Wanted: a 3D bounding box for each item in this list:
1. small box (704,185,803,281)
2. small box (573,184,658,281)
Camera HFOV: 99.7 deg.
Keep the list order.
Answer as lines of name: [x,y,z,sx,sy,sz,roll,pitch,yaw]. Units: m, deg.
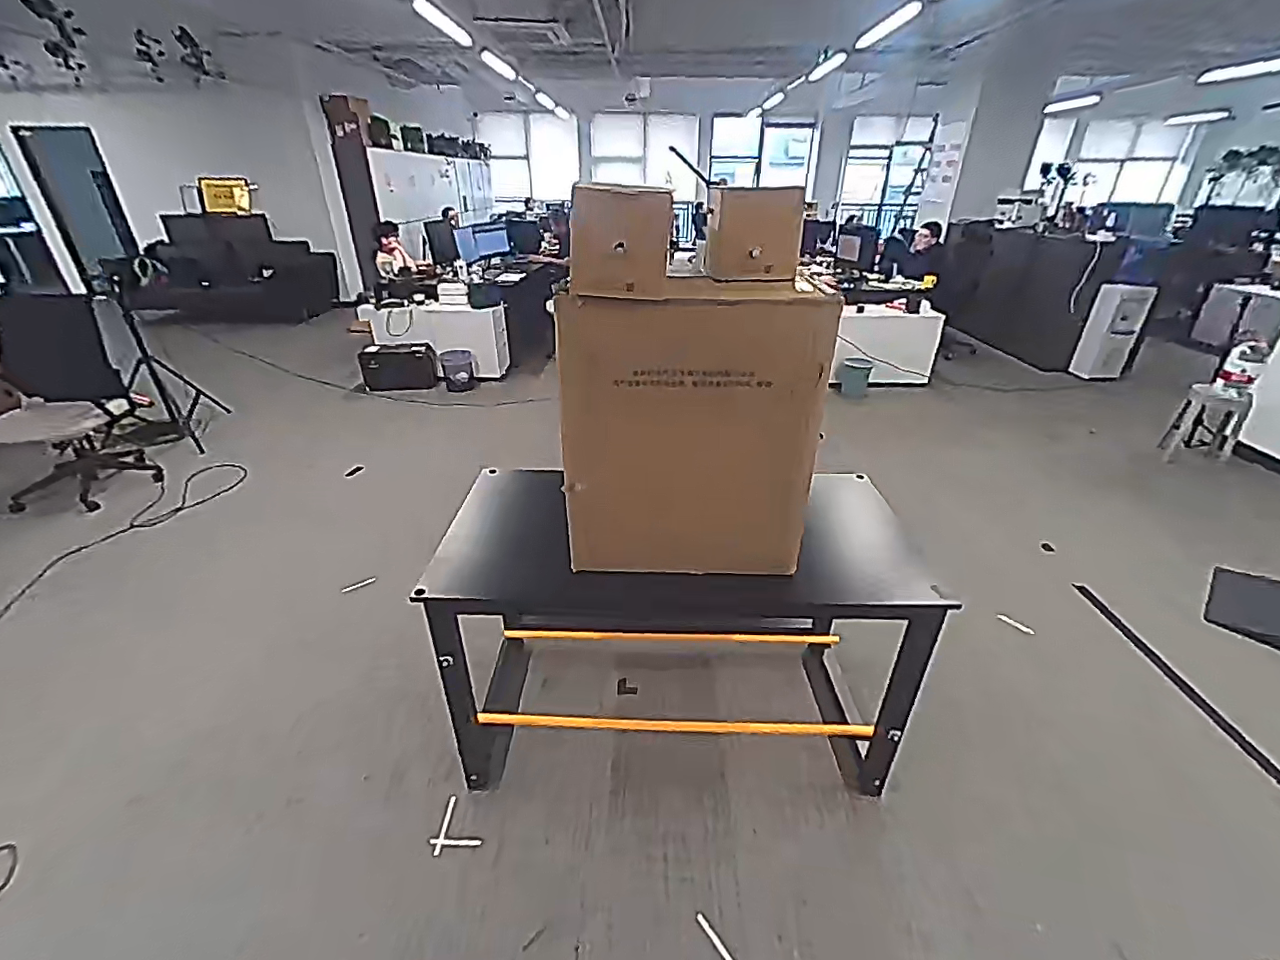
small box: [0.225,-0.514,1.120,0.168,0.176,0.179,-2,29,0]
small box: [-0.048,-0.520,1.133,0.168,0.176,0.179,0,29,0]
